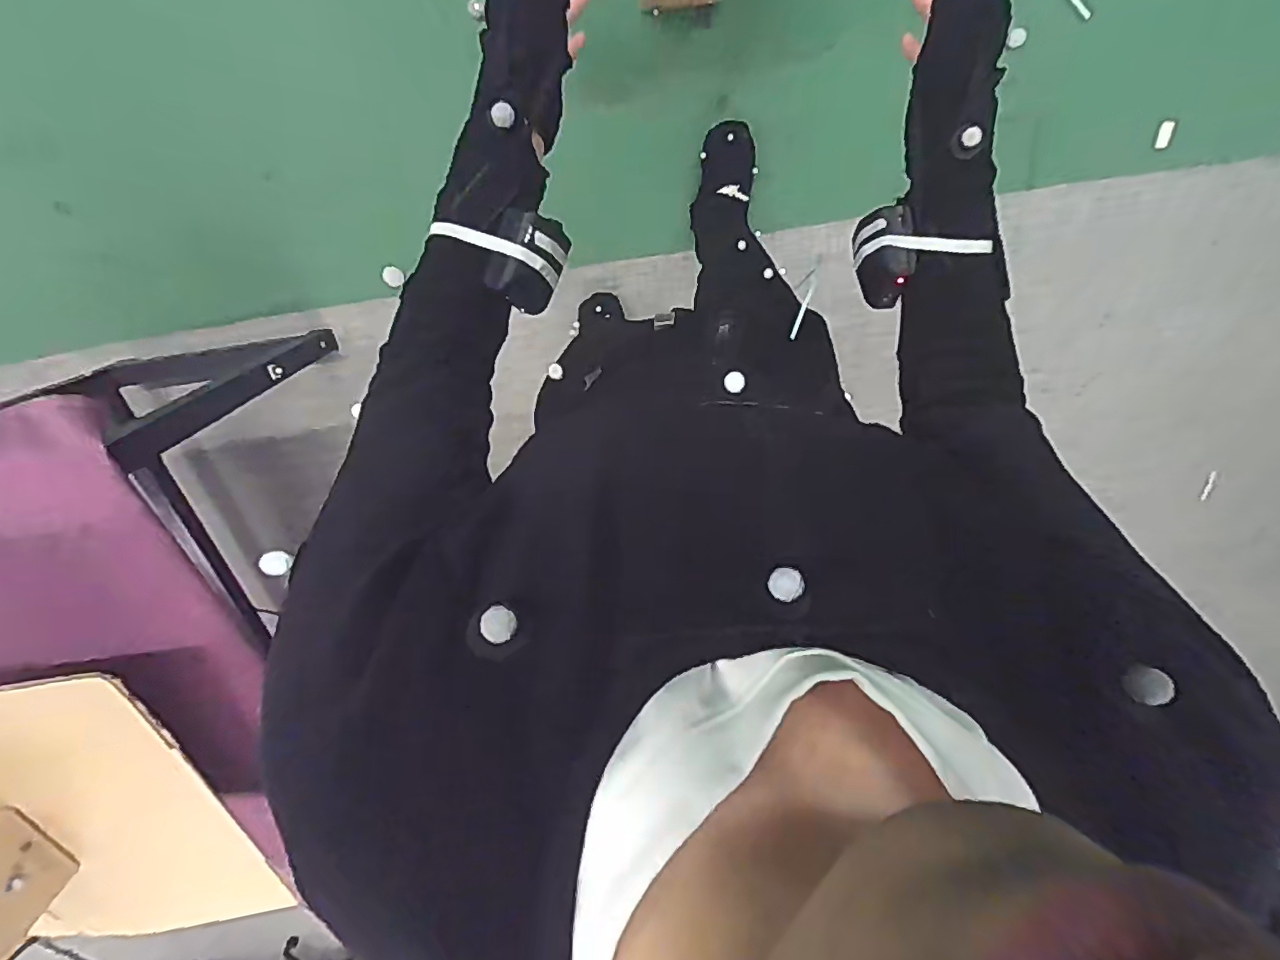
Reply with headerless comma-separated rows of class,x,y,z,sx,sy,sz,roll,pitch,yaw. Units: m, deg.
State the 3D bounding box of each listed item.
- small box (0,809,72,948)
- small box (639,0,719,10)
small box,-0.985,0.588,0.753,0.179,0.176,0.168,-5,120,3
small box,0.073,-0.959,0.948,0.168,0.176,0.179,-5,118,2
